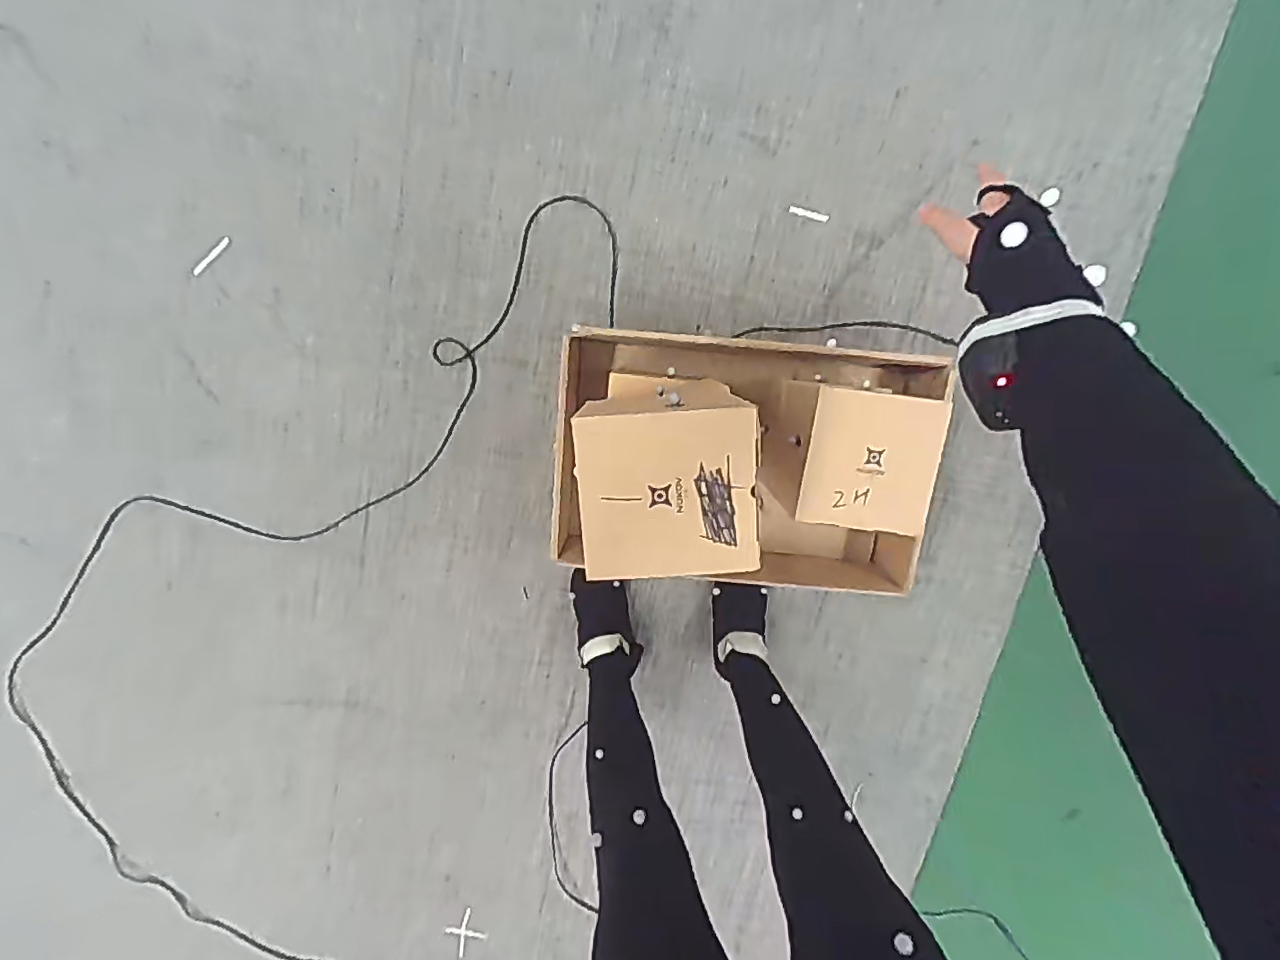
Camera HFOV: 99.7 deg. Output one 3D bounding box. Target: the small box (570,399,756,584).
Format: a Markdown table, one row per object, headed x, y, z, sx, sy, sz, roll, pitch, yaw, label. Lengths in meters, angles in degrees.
| x | y | z | sx | sy | sz | roll | pitch | yaw | label |
| --- | --- | --- | --- | --- | --- | --- | --- | --- | --- |
| 0.024 | 0.002 | 0.599 | 0.179 | 0.176 | 0.168 | -3 | 103 | 1 | small box |

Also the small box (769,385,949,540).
| x | y | z | sx | sy | sz | roll | pitch | yaw | label |
| --- | --- | --- | --- | --- | --- | --- | --- | --- | --- |
| 0.287 | -0.034 | 0.750 | 0.168 | 0.176 | 0.179 | 8 | 103 | 0 | small box |

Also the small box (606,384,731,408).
| x | y | z | sx | sy | sz | roll | pitch | yaw | label |
| --- | --- | --- | --- | --- | --- | --- | --- | --- | --- |
| 0.036 | -0.036 | 0.758 | 0.179 | 0.176 | 0.168 | -10 | 103 | 3 | small box |

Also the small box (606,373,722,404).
| x | y | z | sx | sy | sz | roll | pitch | yaw | label |
| --- | --- | --- | --- | --- | --- | --- | --- | --- | --- |
| 0.030 | -0.089 | 0.913 | 0.179 | 0.176 | 0.168 | 5 | 103 | -2 | small box |
